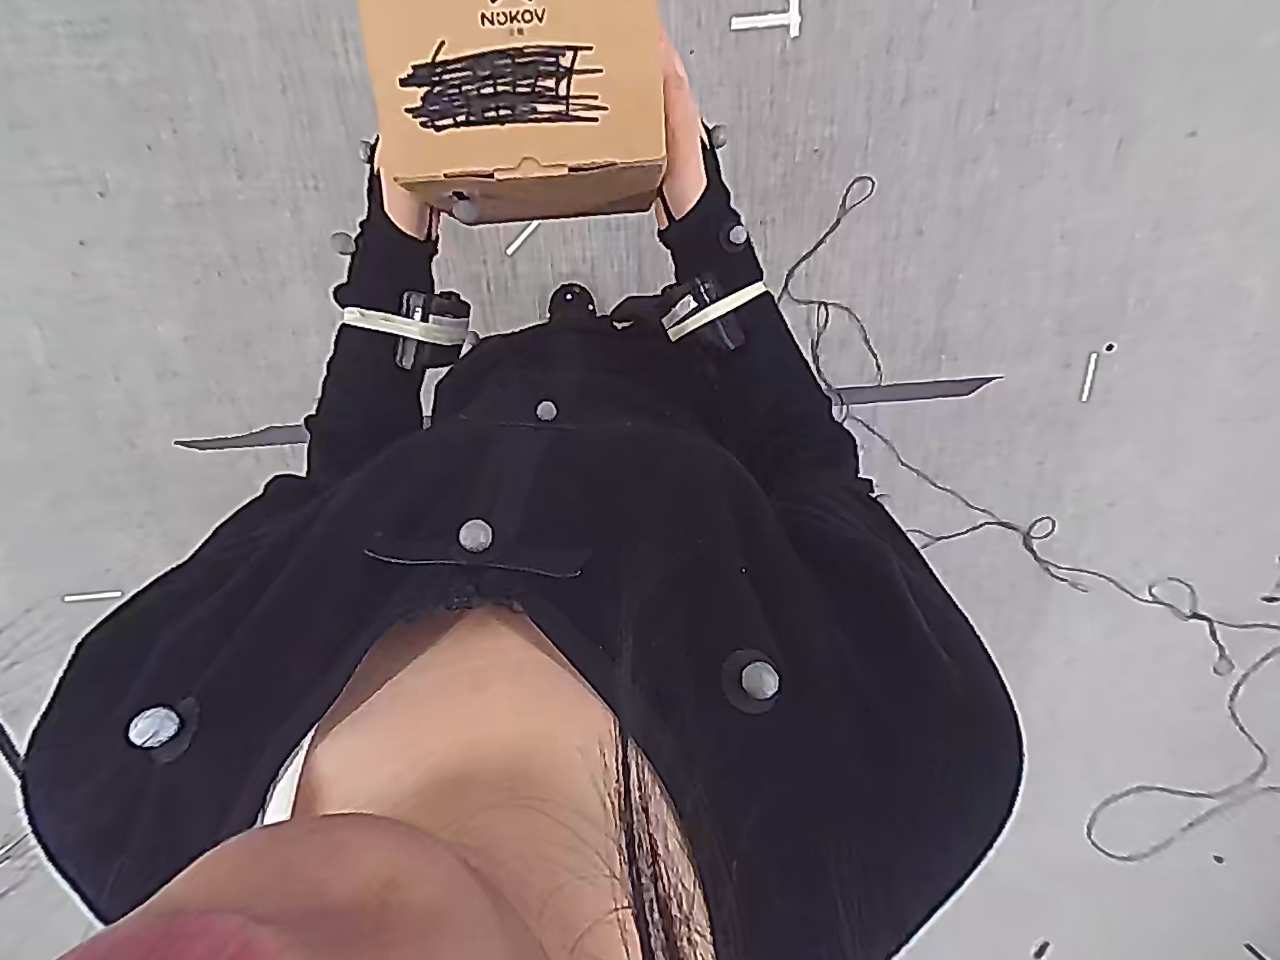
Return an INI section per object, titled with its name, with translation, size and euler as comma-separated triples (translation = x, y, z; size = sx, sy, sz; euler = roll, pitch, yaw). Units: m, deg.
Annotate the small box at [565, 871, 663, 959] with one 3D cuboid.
[small box]
translation = -0.045, 0.849, 0.969
size = 0.168, 0.176, 0.179
euler = -3, 111, -5
